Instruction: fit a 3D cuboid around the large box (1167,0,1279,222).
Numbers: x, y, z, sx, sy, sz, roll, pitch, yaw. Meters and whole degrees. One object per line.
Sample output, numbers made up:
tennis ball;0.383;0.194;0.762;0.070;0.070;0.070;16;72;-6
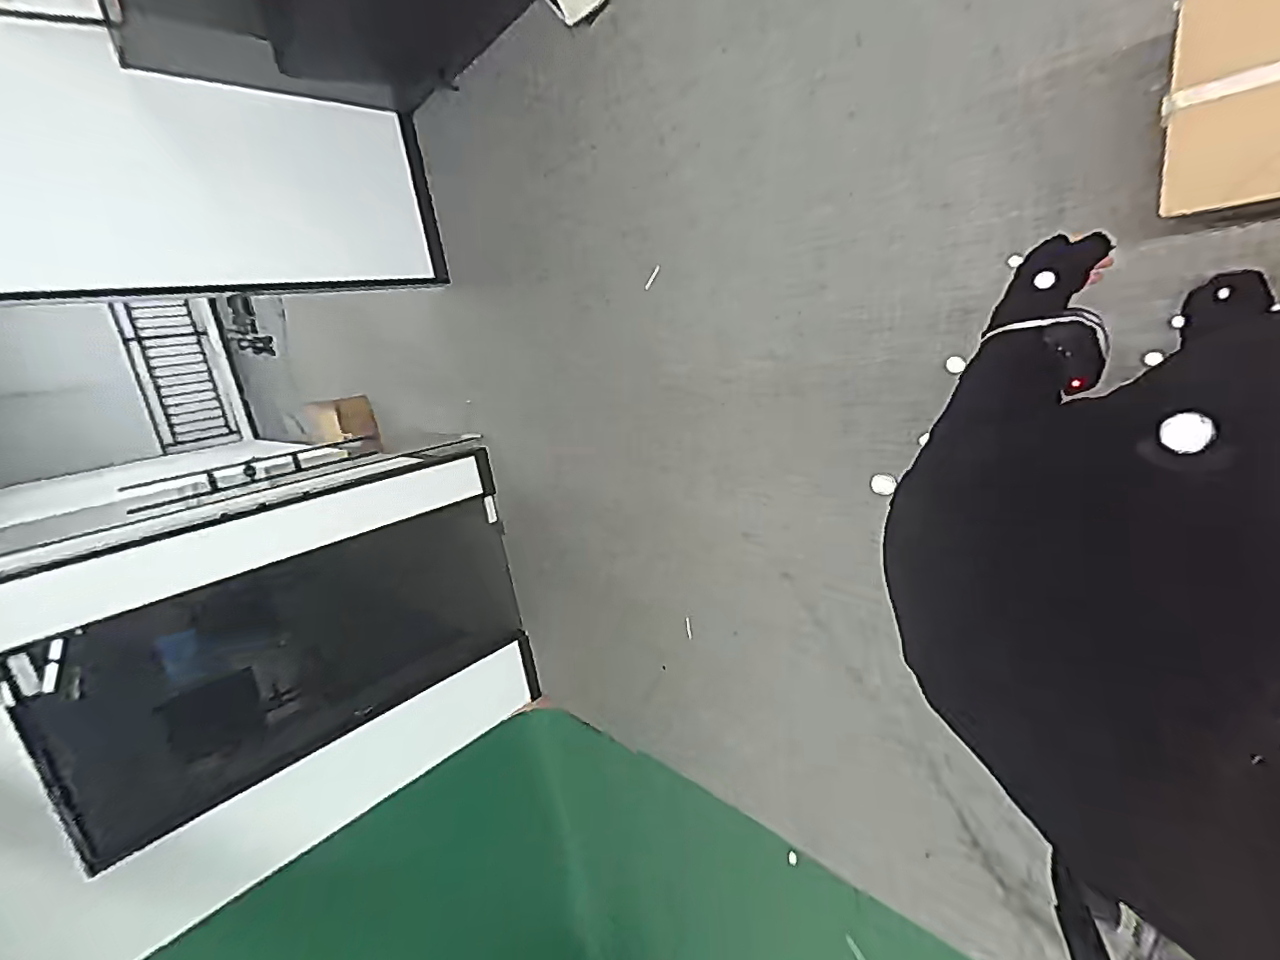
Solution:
large box;1.014;-0.574;0.738;0.408;0.320;0.320;7;111;45
